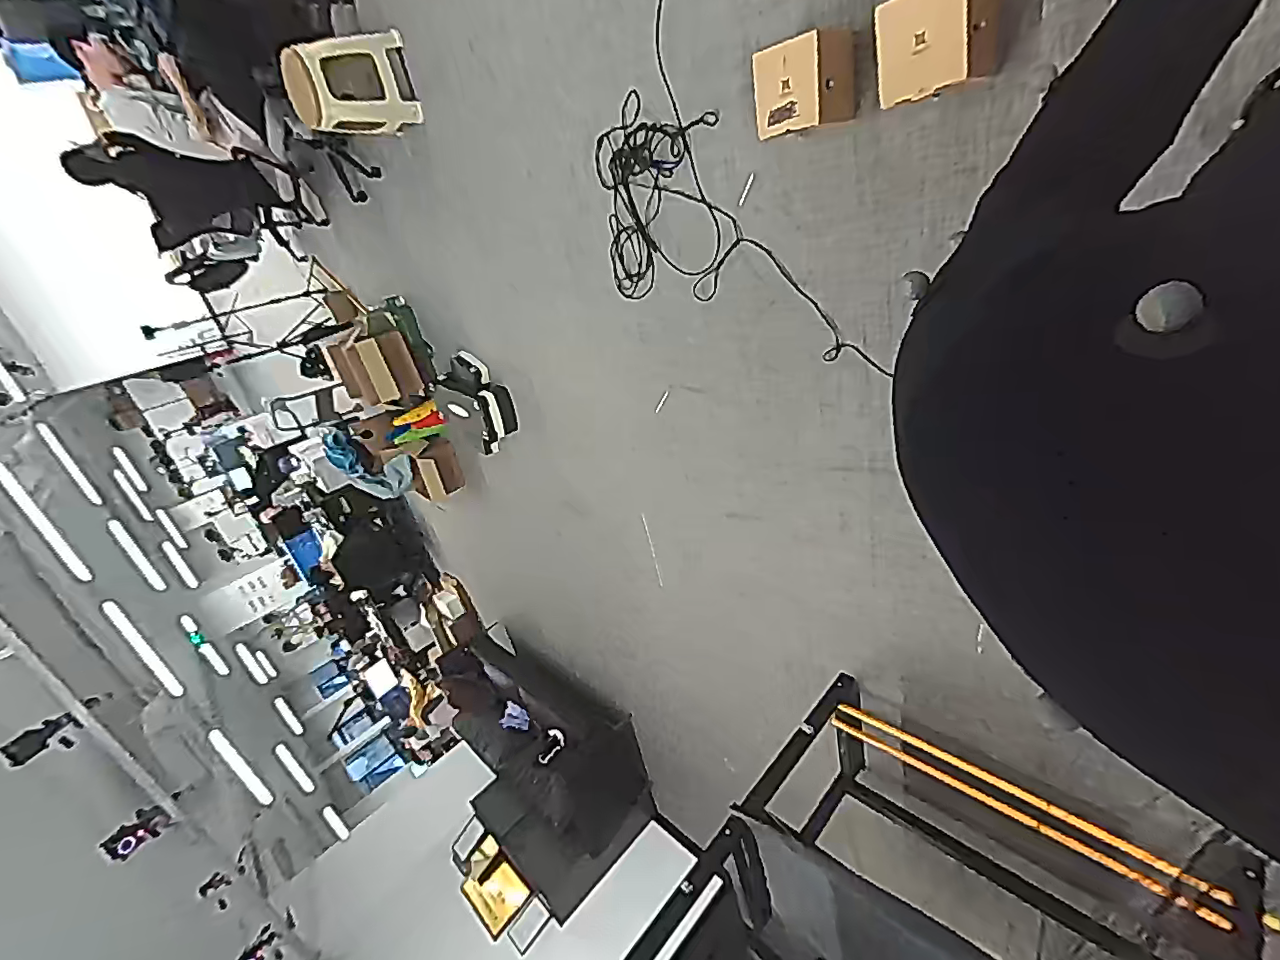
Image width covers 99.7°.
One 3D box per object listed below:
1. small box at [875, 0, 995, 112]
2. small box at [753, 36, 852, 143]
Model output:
[{"bbox_3d":[0.592,-0.866,1.085,0.168,0.176,0.179,12,125,46],"label":"small box"},{"bbox_3d":[0.390,-0.923,1.286,0.168,0.176,0.179,17,127,43],"label":"small box"}]
